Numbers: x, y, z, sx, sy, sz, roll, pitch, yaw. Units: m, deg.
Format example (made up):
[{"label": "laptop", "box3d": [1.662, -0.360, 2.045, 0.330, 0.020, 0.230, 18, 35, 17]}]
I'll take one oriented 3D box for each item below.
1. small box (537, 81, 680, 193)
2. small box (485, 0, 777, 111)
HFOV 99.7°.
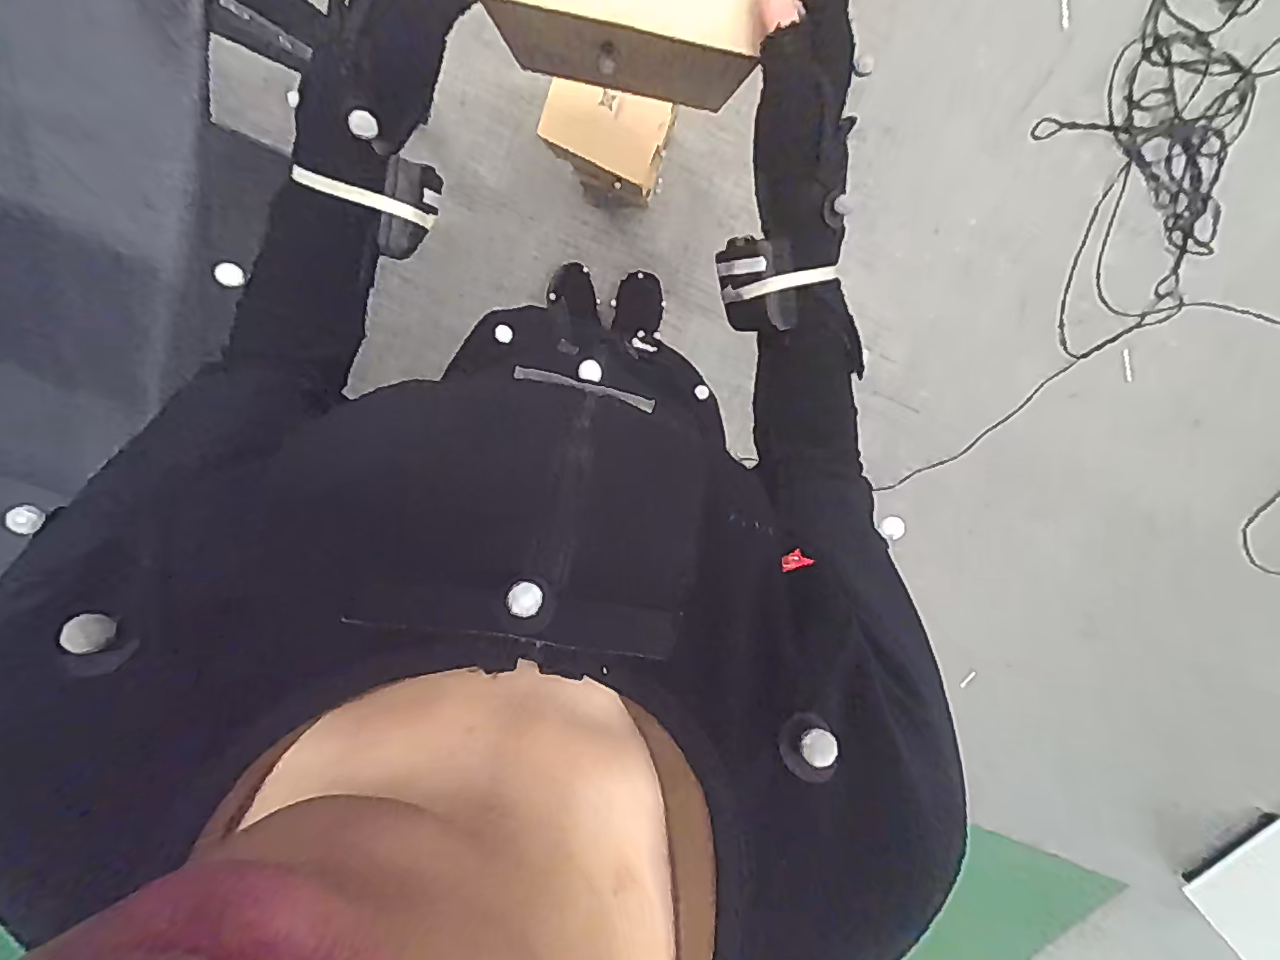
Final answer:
[{"label": "small box", "box3d": [-0.041, -0.574, 0.852, 0.179, 0.176, 0.168, 22, 112, -9]}, {"label": "small box", "box3d": [0.001, -0.367, 0.356, 0.179, 0.176, 0.168, 8, 114, -5]}]
